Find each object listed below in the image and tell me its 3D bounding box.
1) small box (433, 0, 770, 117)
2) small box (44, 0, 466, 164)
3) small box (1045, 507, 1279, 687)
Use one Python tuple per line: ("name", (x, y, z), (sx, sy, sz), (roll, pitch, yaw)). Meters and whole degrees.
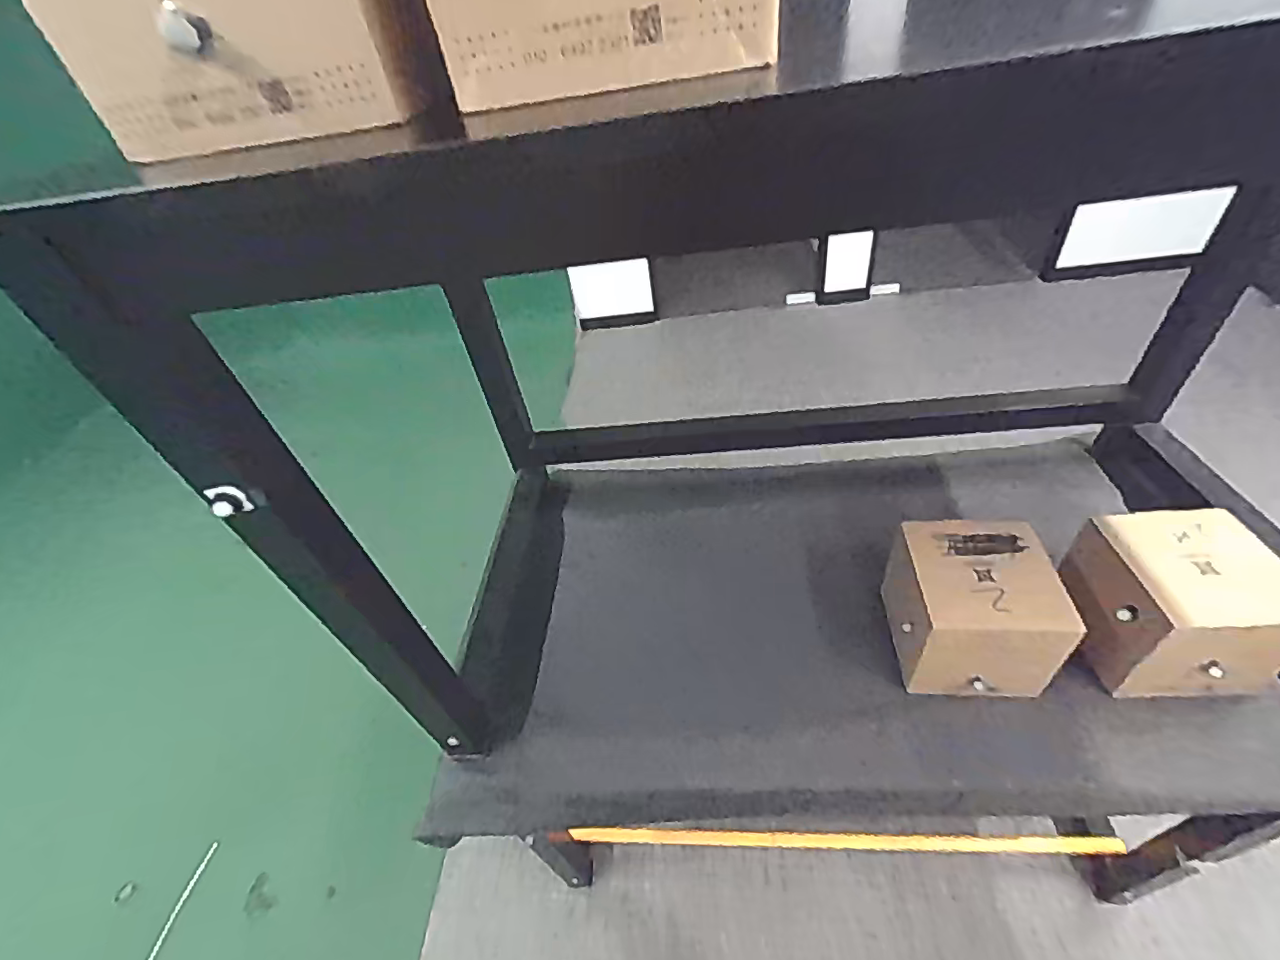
("small box", (-0.022, -0.311, 0.288), (0.168, 0.176, 0.179), (-4, 43, 7))
("small box", (-0.217, -0.300, 0.310), (0.168, 0.176, 0.179), (-4, 44, 7))
("small box", (0.688, 0.159, 0.715), (0.168, 0.176, 0.179), (-4, 42, 7))
